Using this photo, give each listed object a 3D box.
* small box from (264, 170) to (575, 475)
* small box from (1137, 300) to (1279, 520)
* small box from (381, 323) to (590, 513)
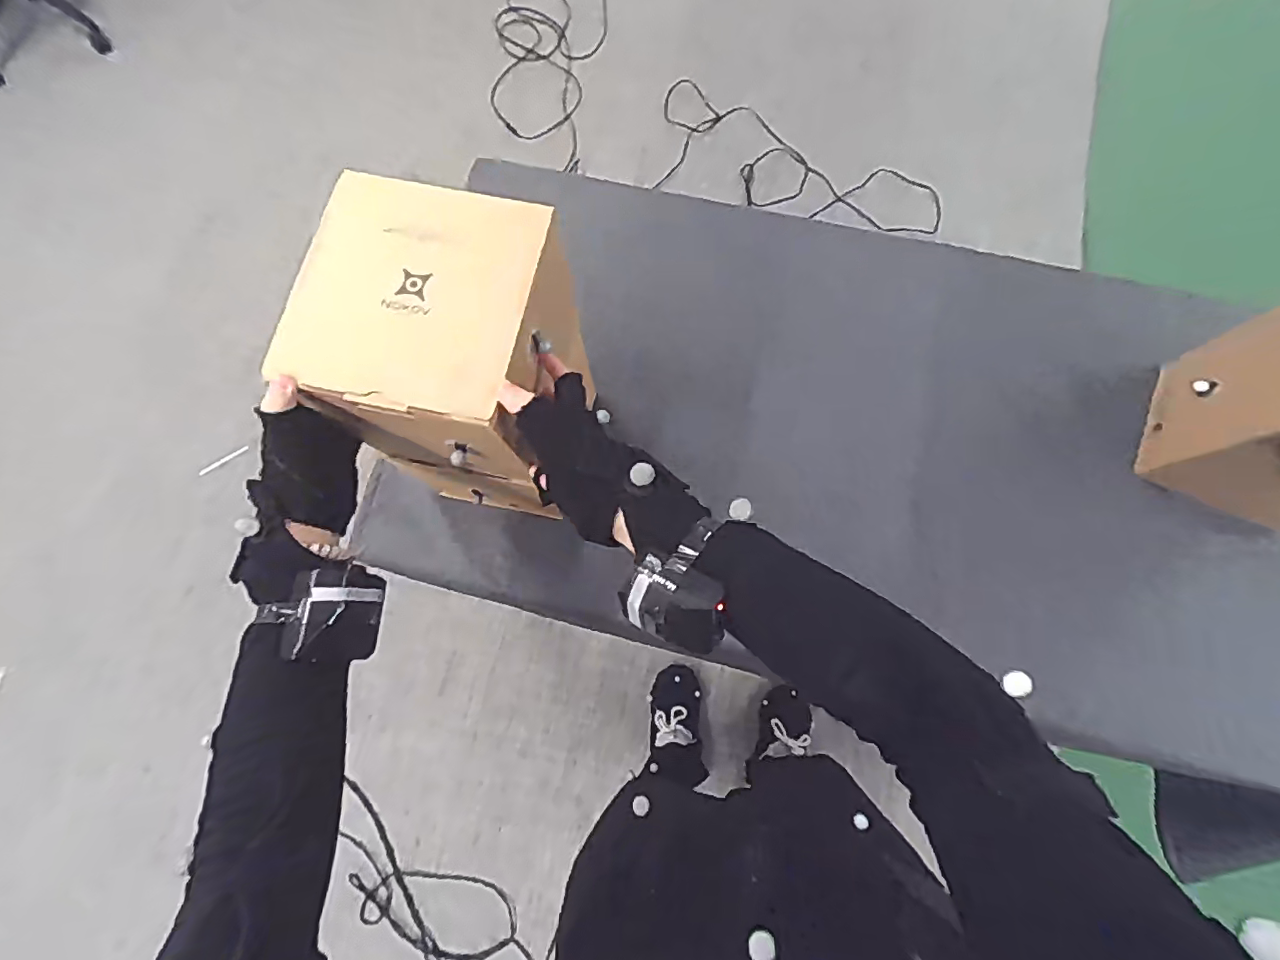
[{"bbox_3d":[-0.159,-0.116,0.459,0.168,0.176,0.179,12,76,3],"label":"small box"},{"bbox_3d":[0.716,-0.069,0.596,0.179,0.176,0.168,24,78,7],"label":"small box"},{"bbox_3d":[-0.156,-0.074,0.617,0.168,0.176,0.179,10,77,3],"label":"small box"}]
